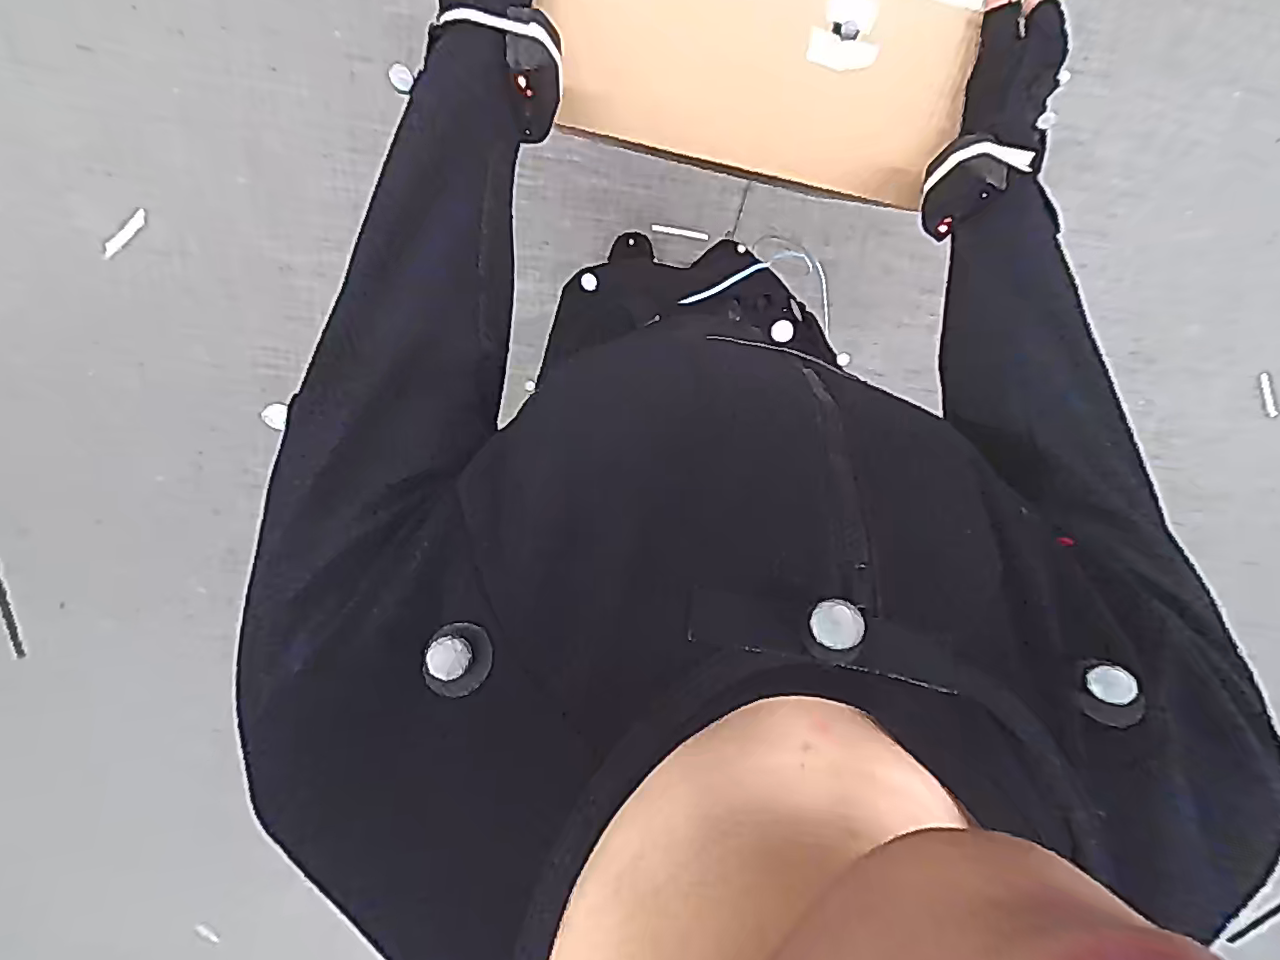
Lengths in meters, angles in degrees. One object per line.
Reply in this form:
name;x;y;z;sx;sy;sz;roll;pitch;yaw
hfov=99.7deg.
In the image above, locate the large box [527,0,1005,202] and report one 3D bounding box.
large box;0.111;-0.509;0.571;0.408;0.320;0.320;9;120;-7
